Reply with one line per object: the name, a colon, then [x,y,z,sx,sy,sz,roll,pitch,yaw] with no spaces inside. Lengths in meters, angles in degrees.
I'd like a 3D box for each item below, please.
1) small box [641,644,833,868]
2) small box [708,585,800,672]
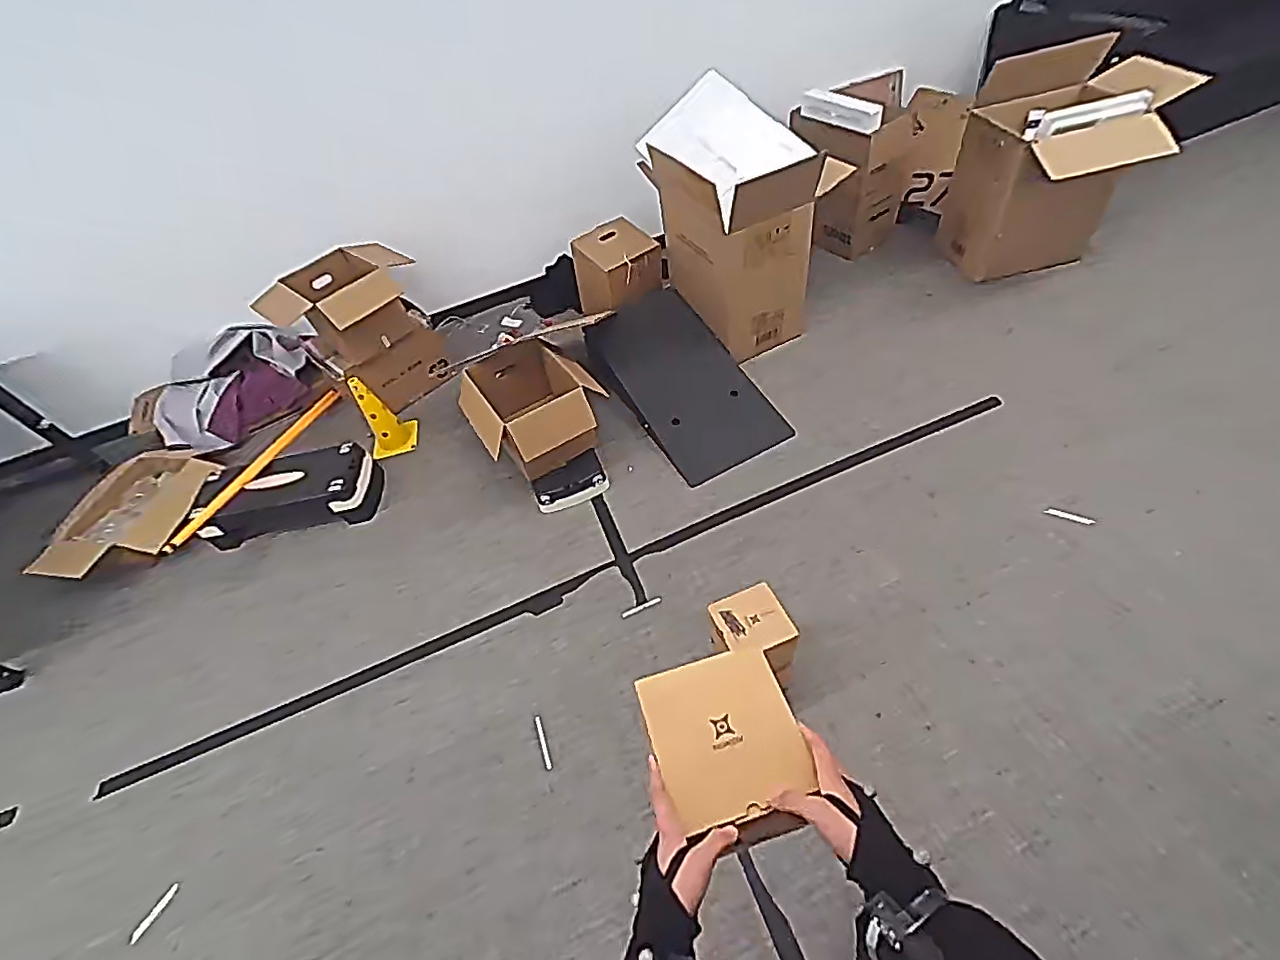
small box: [0.104,0.335,0.660,0.168,0.176,0.179,-15,47,-8]
small box: [0.294,0.410,1.405,0.179,0.176,0.168,-21,50,-8]
